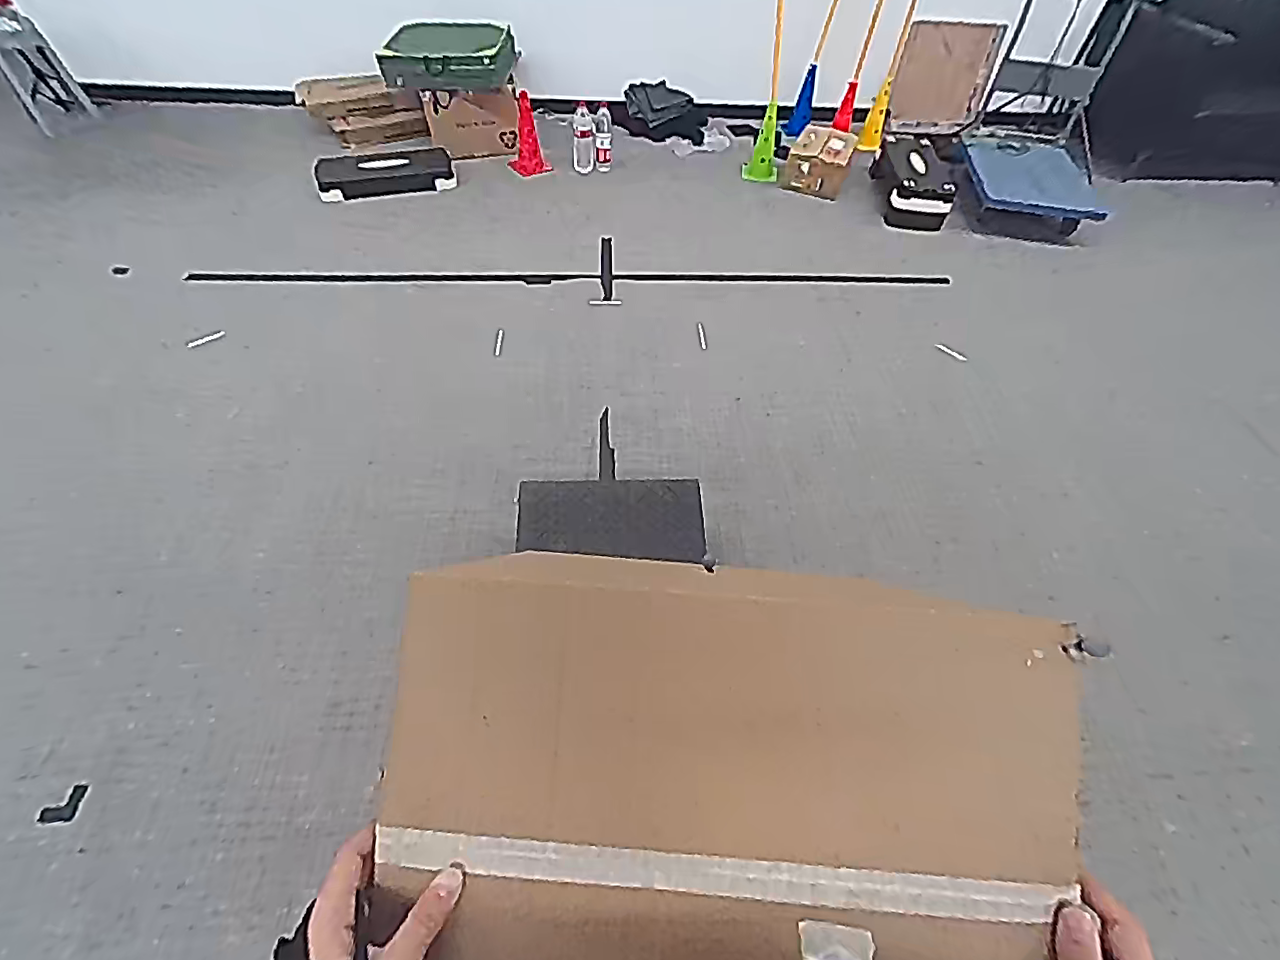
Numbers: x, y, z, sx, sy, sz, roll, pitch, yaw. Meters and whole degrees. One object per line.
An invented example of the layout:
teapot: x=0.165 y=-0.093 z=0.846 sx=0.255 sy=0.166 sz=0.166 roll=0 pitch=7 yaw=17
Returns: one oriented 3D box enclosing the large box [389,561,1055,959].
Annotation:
large box: x=0.050 y=0.239 z=0.478 sx=0.408 sy=0.320 sz=0.320 roll=4 pitch=86 yaw=0
